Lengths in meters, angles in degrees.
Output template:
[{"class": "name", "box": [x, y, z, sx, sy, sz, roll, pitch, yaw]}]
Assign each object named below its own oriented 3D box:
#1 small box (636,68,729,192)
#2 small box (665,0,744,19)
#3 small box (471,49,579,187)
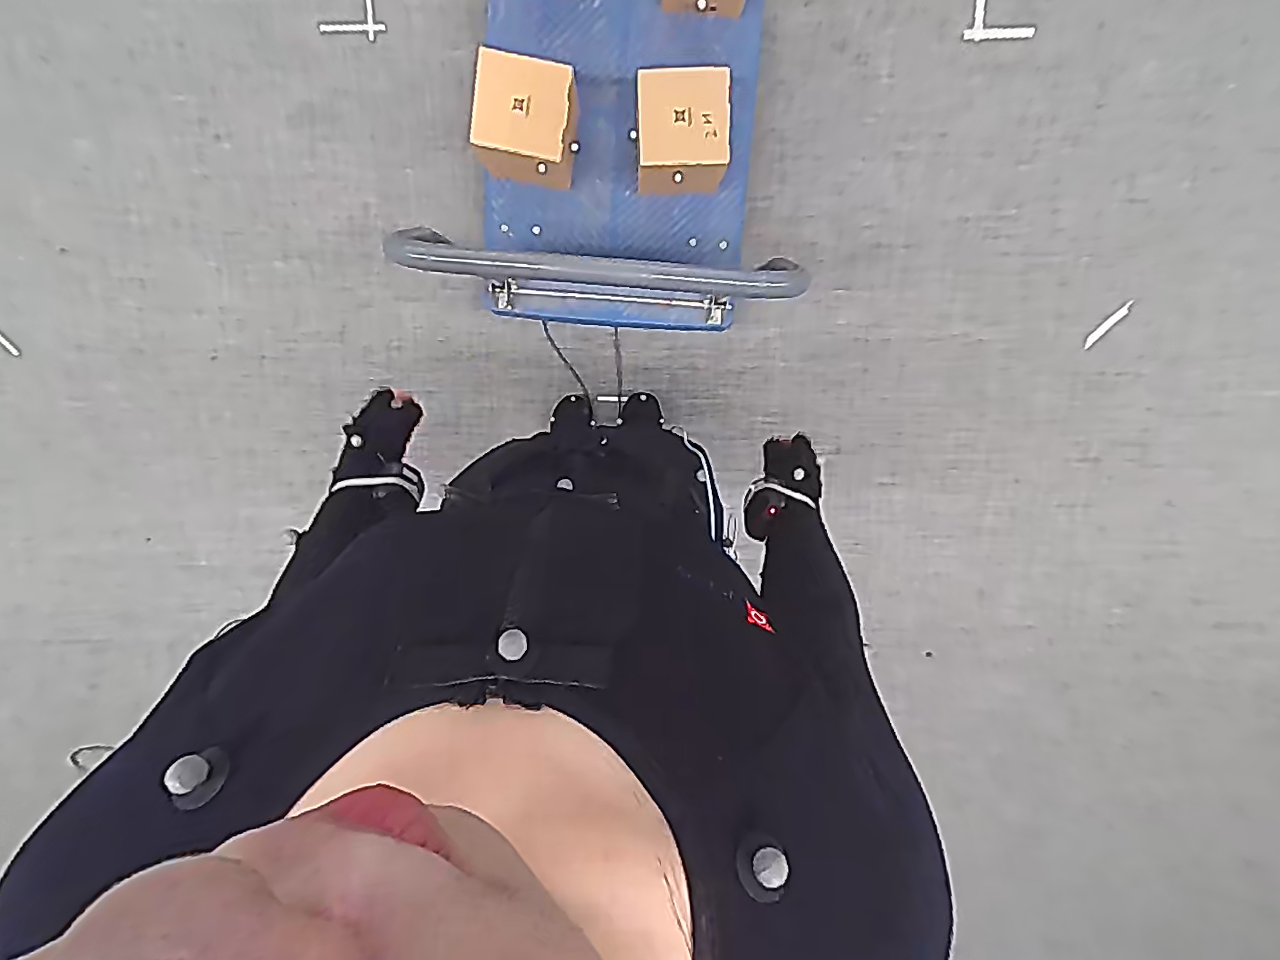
[{"class": "small box", "box": [0.081, -0.704, 1.104, 0.179, 0.176, 0.168, -2, 101, -1]}, {"class": "small box", "box": [0.137, -1.045, 1.038, 0.168, 0.176, 0.179, 3, 102, -2]}, {"class": "small box", "box": [-0.225, -0.720, 1.095, 0.179, 0.176, 0.168, 9, 100, -4]}]
